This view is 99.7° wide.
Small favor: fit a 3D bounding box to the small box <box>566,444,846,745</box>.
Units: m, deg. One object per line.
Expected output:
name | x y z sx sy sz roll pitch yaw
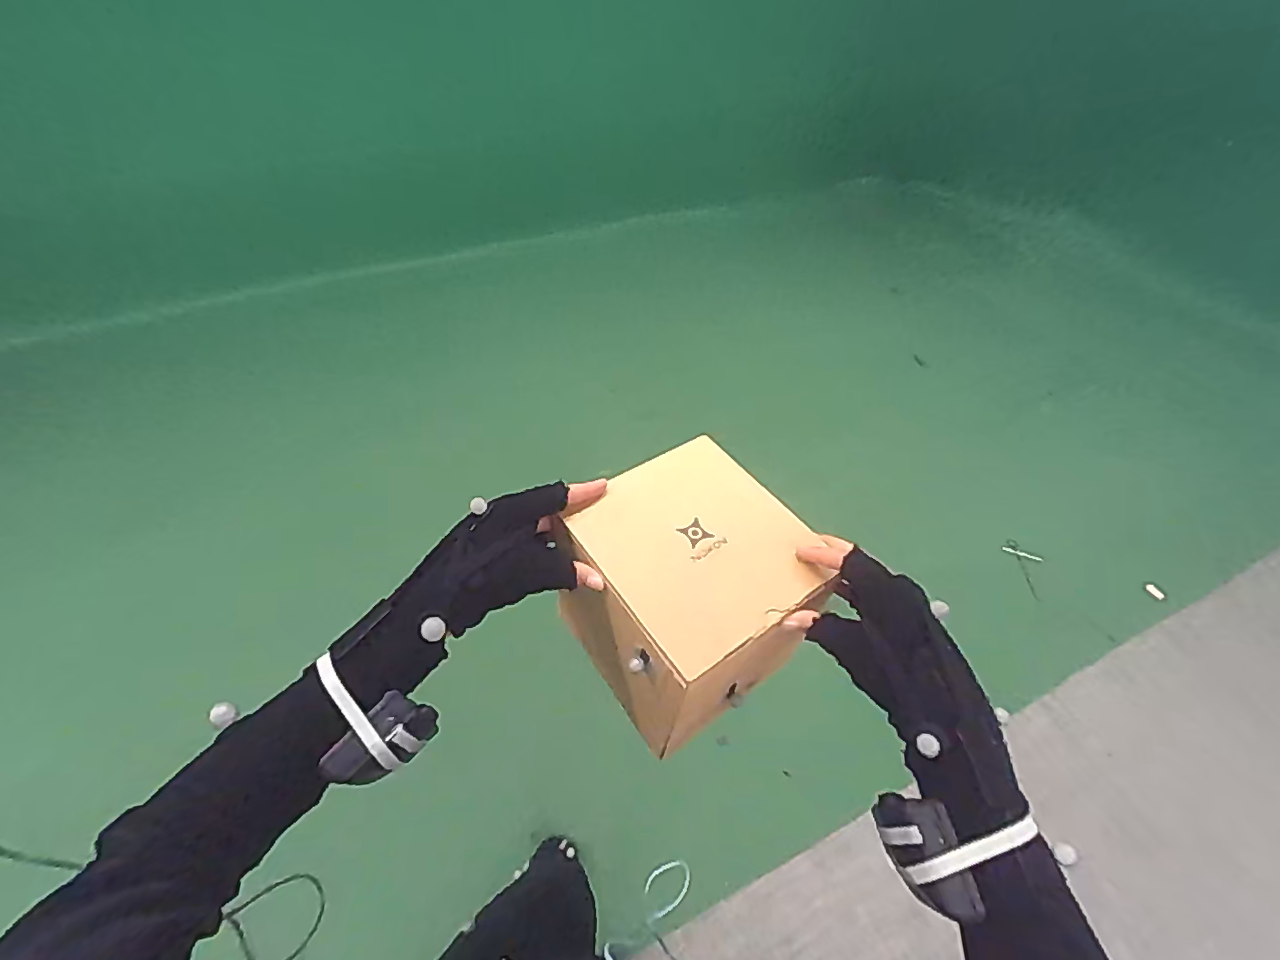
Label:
small box | 0.042 0.103 0.495 0.168 0.176 0.179 -26 57 -26
